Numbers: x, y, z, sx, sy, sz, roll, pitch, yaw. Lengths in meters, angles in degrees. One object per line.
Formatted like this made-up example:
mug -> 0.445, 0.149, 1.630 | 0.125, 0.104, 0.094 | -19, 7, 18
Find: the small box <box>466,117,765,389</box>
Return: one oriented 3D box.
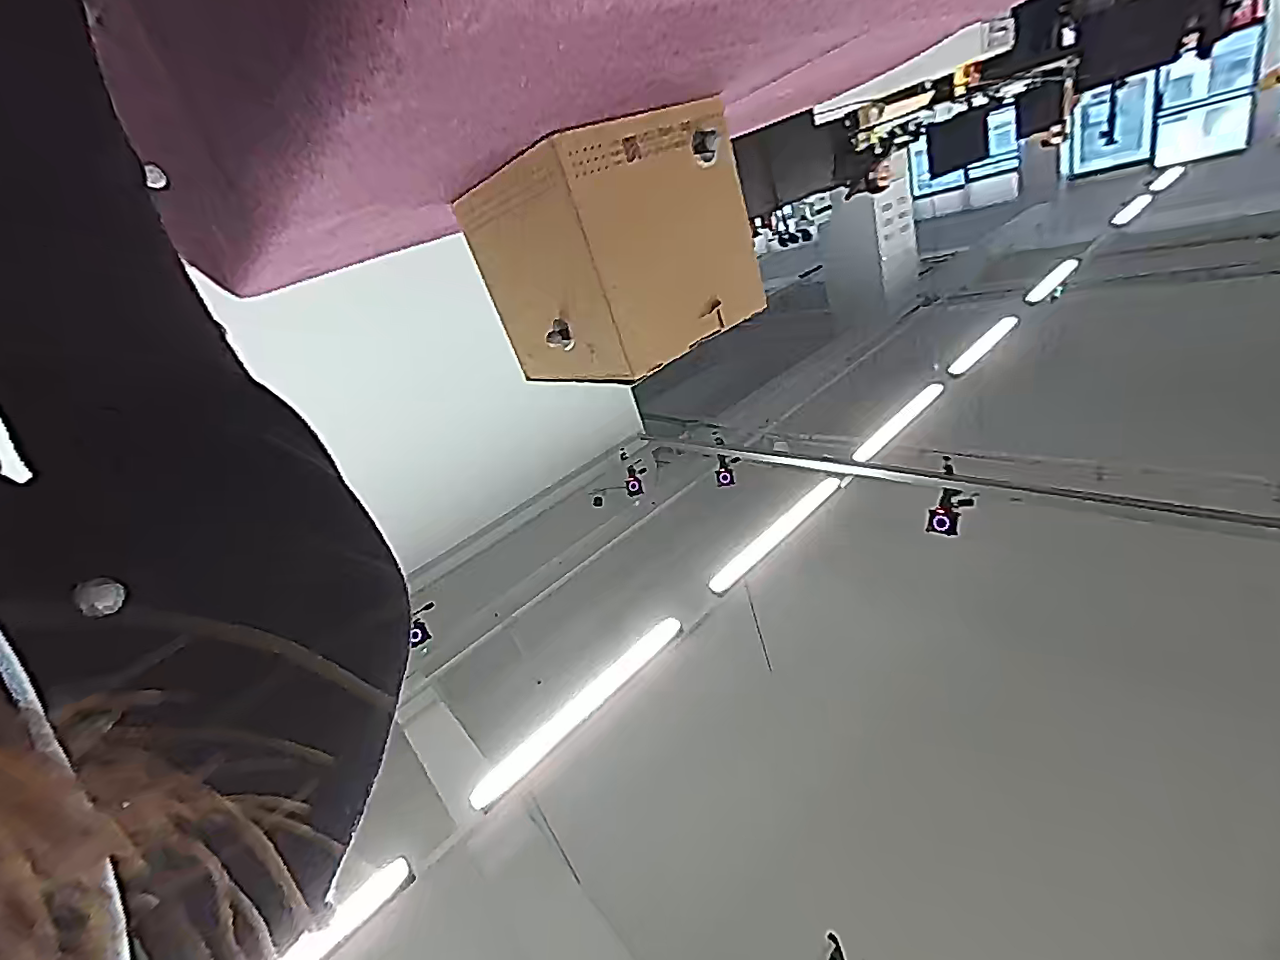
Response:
small box -> -0.024, -0.192, 0.473 | 0.168, 0.176, 0.179 | -35, -151, -29
